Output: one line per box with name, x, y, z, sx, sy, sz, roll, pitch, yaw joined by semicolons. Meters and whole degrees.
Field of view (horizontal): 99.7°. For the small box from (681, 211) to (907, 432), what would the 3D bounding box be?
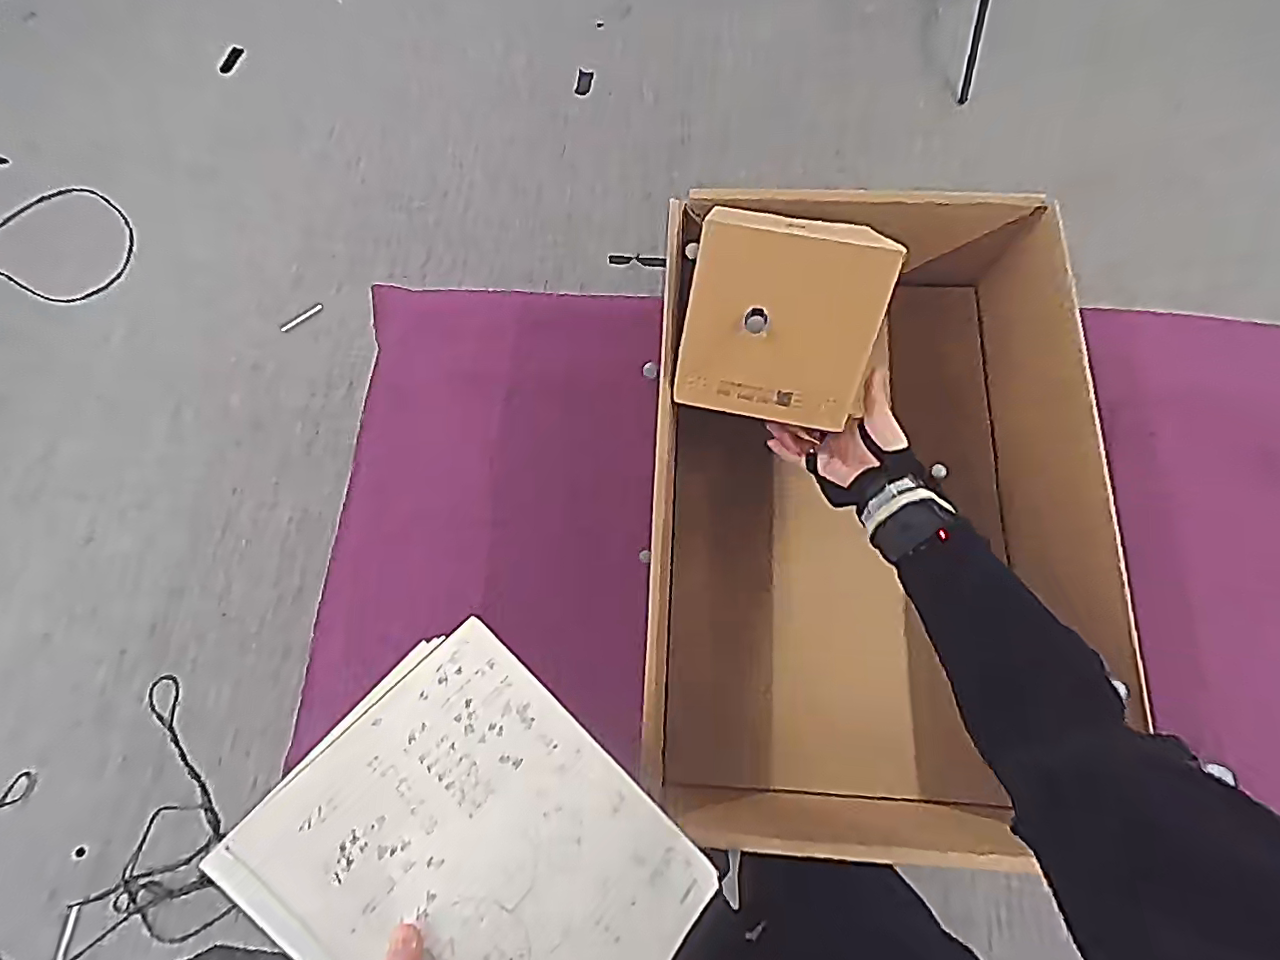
small box;0.139;-0.164;0.545;0.168;0.179;0.176;11;121;5
